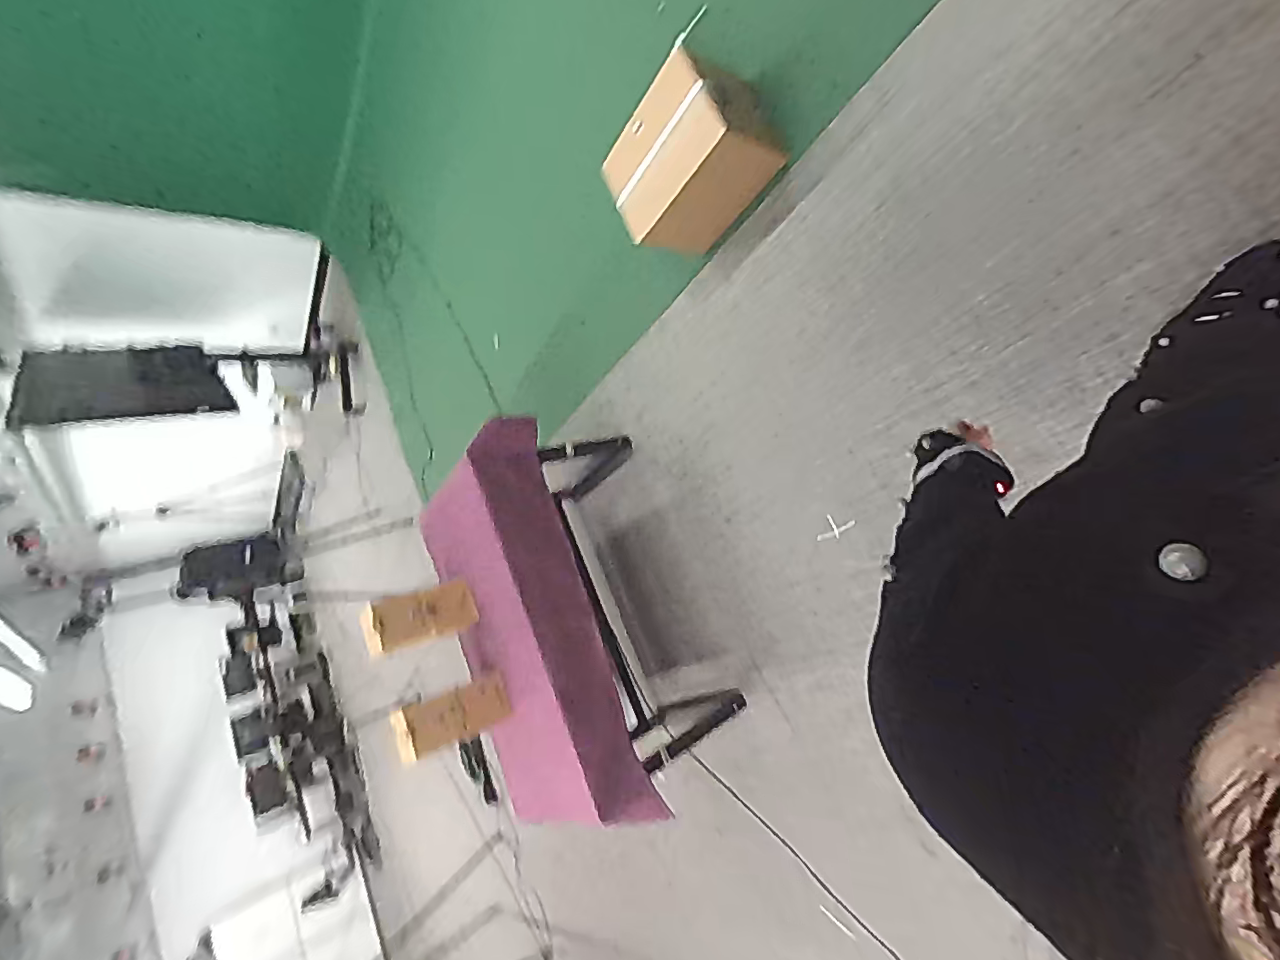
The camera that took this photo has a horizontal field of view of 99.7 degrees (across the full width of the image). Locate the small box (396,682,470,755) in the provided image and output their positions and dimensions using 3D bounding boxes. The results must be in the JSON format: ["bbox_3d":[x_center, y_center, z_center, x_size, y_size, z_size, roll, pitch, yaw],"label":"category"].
[{"bbox_3d":[-0.678,0.782,1.782,0.179,0.176,0.168,-36,70,45],"label":"small box"}]

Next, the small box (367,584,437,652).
[{"bbox_3d":[-0.824,0.478,1.875,0.179,0.176,0.168,-36,72,45],"label":"small box"}]

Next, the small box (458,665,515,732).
[{"bbox_3d":[-0.555,0.765,1.891,0.179,0.176,0.168,-37,70,46],"label":"small box"}]

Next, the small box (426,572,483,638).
[{"bbox_3d":[-0.696,0.456,1.977,0.179,0.176,0.168,-39,70,45],"label":"small box"}]
